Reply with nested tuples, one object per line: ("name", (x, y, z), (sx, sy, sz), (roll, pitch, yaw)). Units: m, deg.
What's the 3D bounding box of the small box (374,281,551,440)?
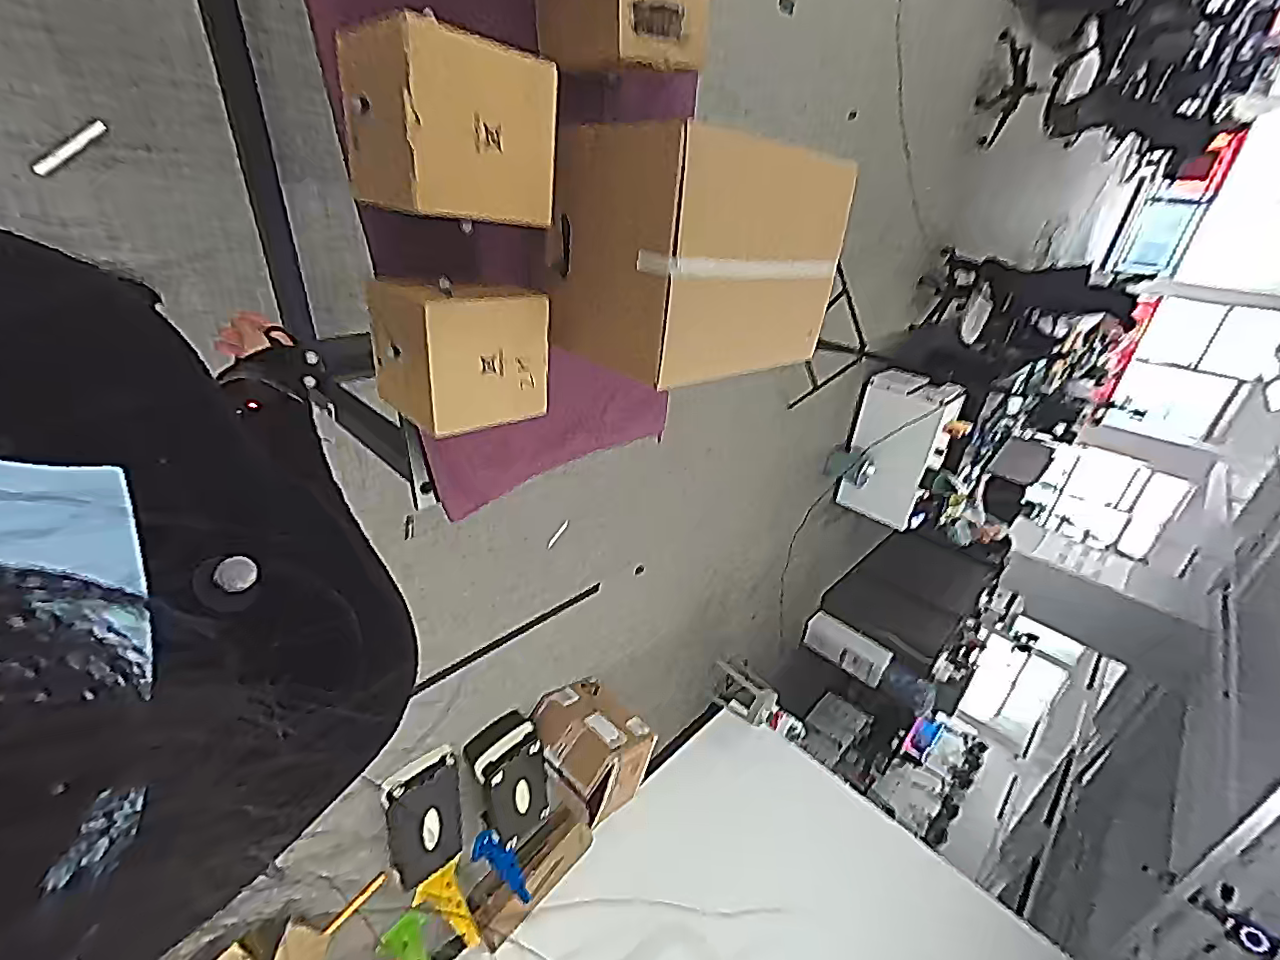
("small box", (-0.243, -0.172, 0.739), (0.179, 0.176, 0.168), (-21, 128, -43))
